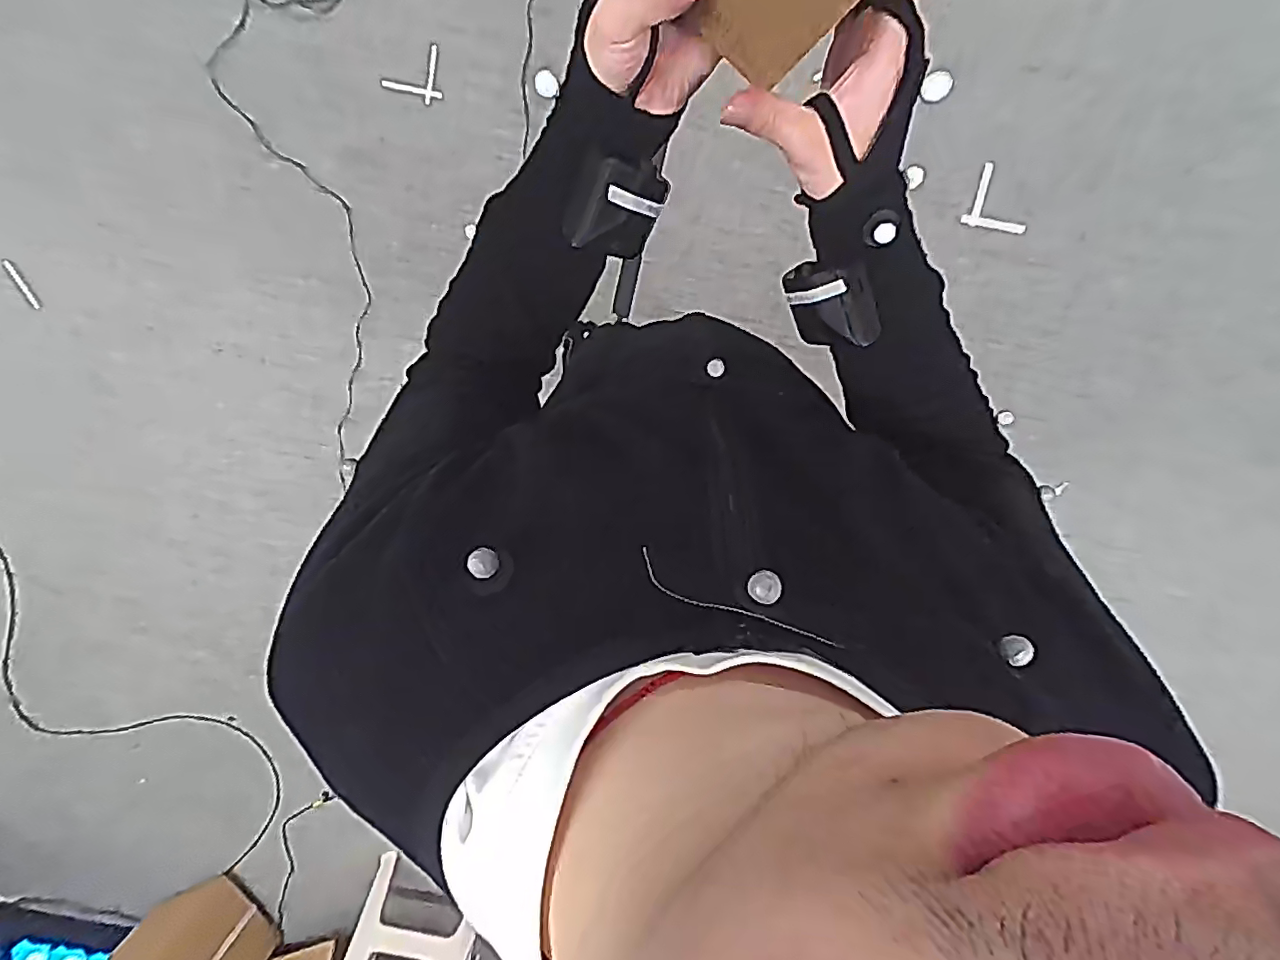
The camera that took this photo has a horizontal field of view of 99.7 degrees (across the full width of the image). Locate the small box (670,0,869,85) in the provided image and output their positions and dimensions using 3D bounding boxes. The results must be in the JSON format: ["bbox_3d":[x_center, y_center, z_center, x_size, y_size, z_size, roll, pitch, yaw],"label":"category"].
[{"bbox_3d":[0.069,-0.297,0.190,0.168,0.176,0.179,35,104,-17],"label":"small box"}]
